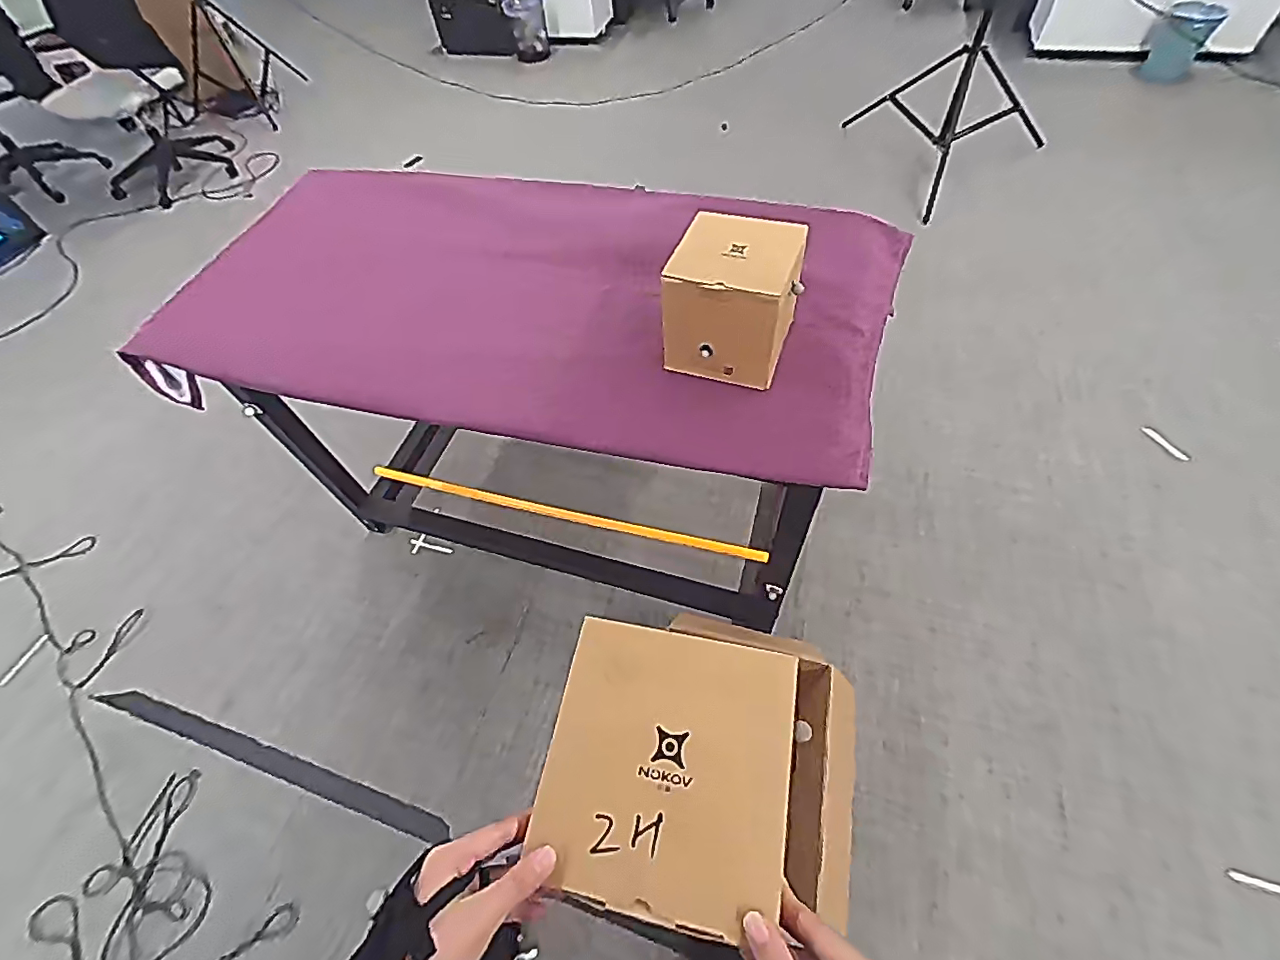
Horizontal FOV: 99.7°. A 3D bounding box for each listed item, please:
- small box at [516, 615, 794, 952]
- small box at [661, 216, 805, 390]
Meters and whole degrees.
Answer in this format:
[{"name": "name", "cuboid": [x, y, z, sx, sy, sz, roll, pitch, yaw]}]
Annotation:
[{"name": "small box", "cuboid": [0.024, 0.230, 0.438, 0.168, 0.176, 0.179, 7, 61, 12]}, {"name": "small box", "cuboid": [0.138, -0.266, 0.817, 0.168, 0.176, 0.179, 15, 57, 16]}]
